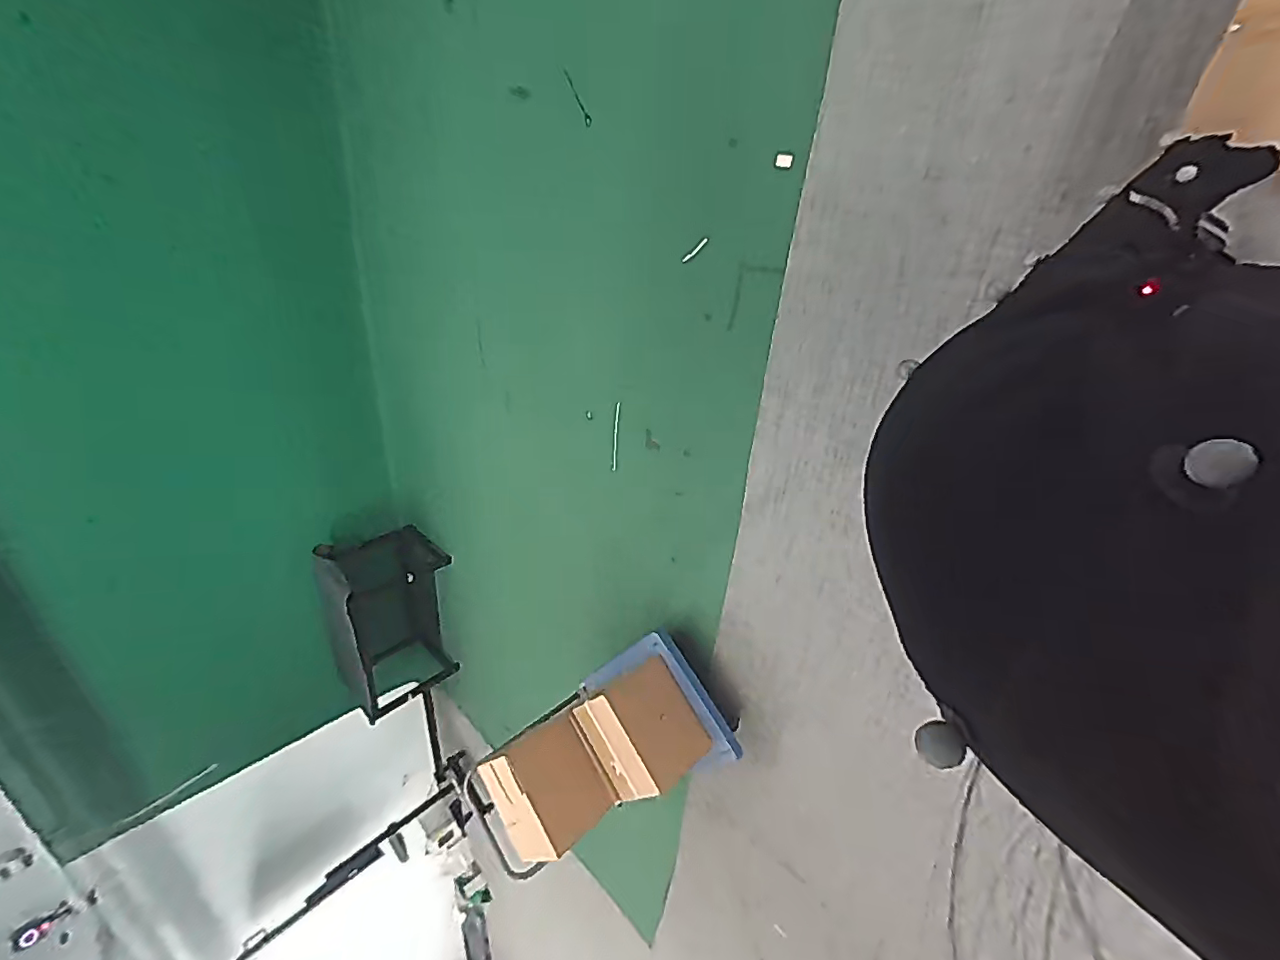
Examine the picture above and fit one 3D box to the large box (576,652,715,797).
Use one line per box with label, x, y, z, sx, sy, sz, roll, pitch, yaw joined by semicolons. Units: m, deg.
large box;0.018;0.973;2.167;0.408;0.320;0.320;56;138;12
